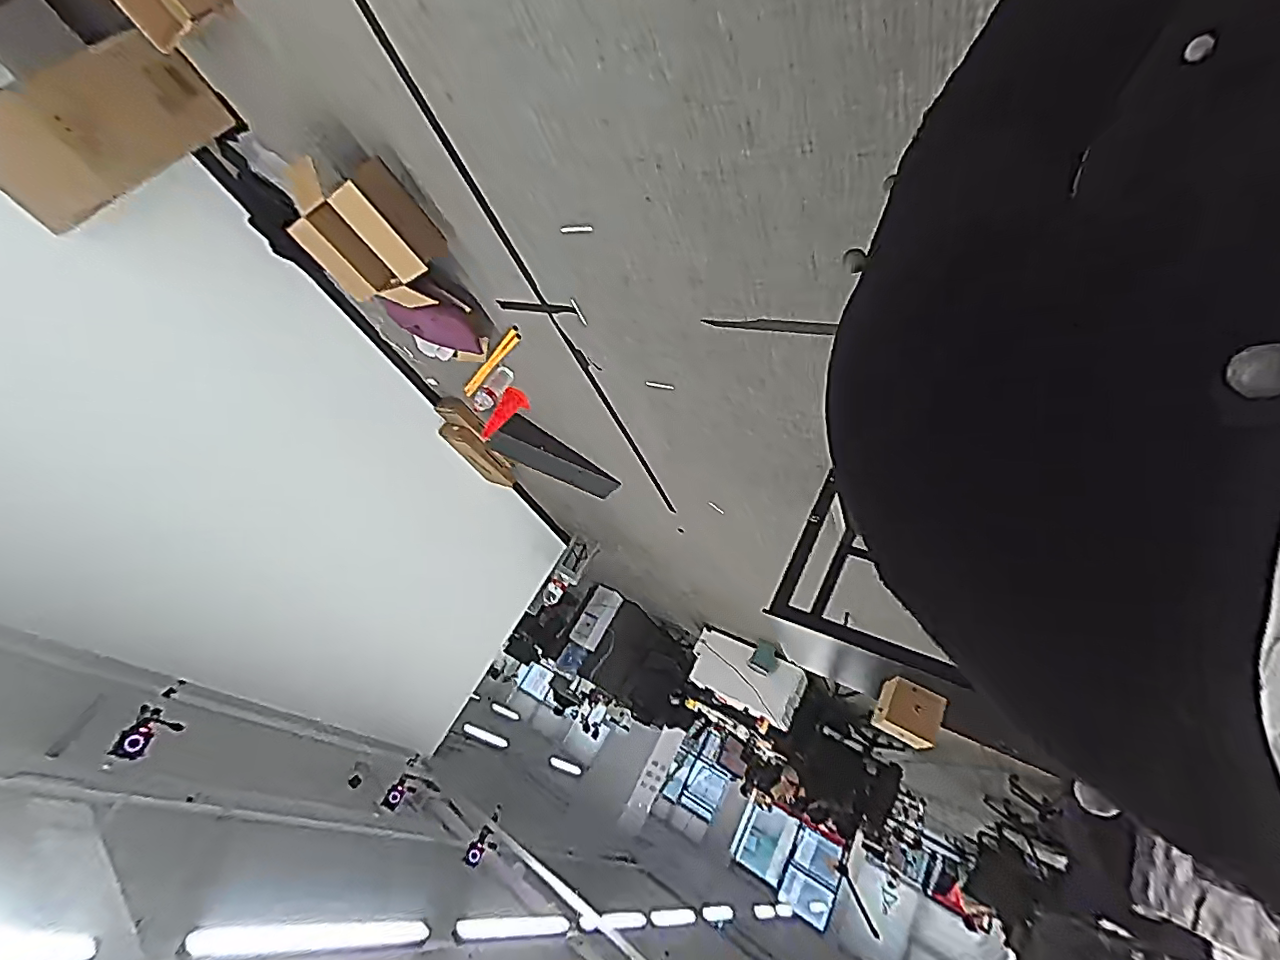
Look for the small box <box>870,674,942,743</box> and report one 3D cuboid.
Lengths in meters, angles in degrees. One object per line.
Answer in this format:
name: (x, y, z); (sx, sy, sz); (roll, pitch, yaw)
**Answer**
small box: (0.952, 0.812, 1.931); (0.168, 0.176, 0.179); (24, 158, 18)
